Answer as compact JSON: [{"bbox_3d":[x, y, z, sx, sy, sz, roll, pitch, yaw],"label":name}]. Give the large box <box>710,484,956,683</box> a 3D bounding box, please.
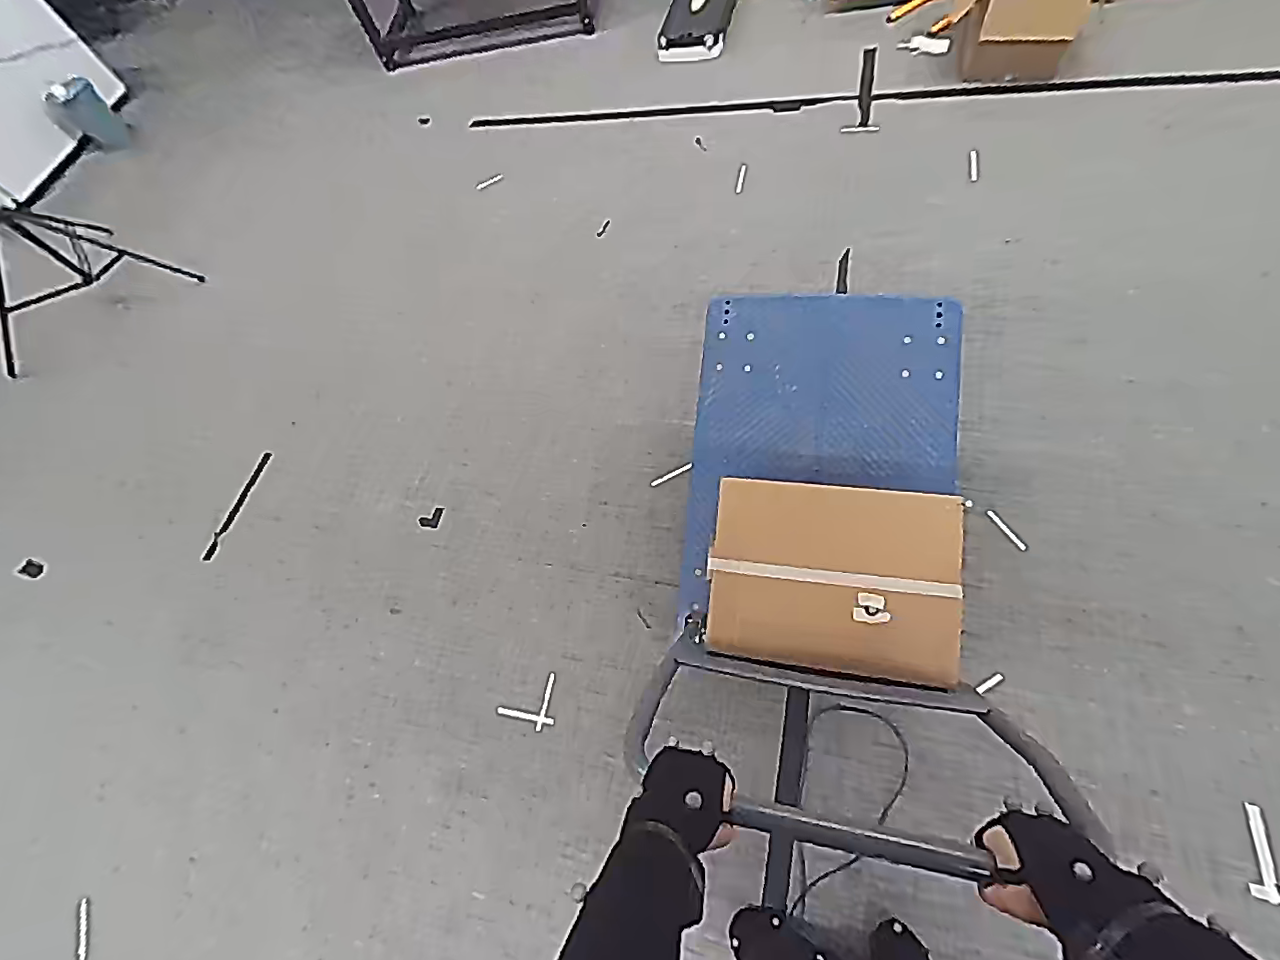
[{"bbox_3d":[0.358,0.191,1.084,0.408,0.320,0.320,4,84,12],"label":"large box"}]
